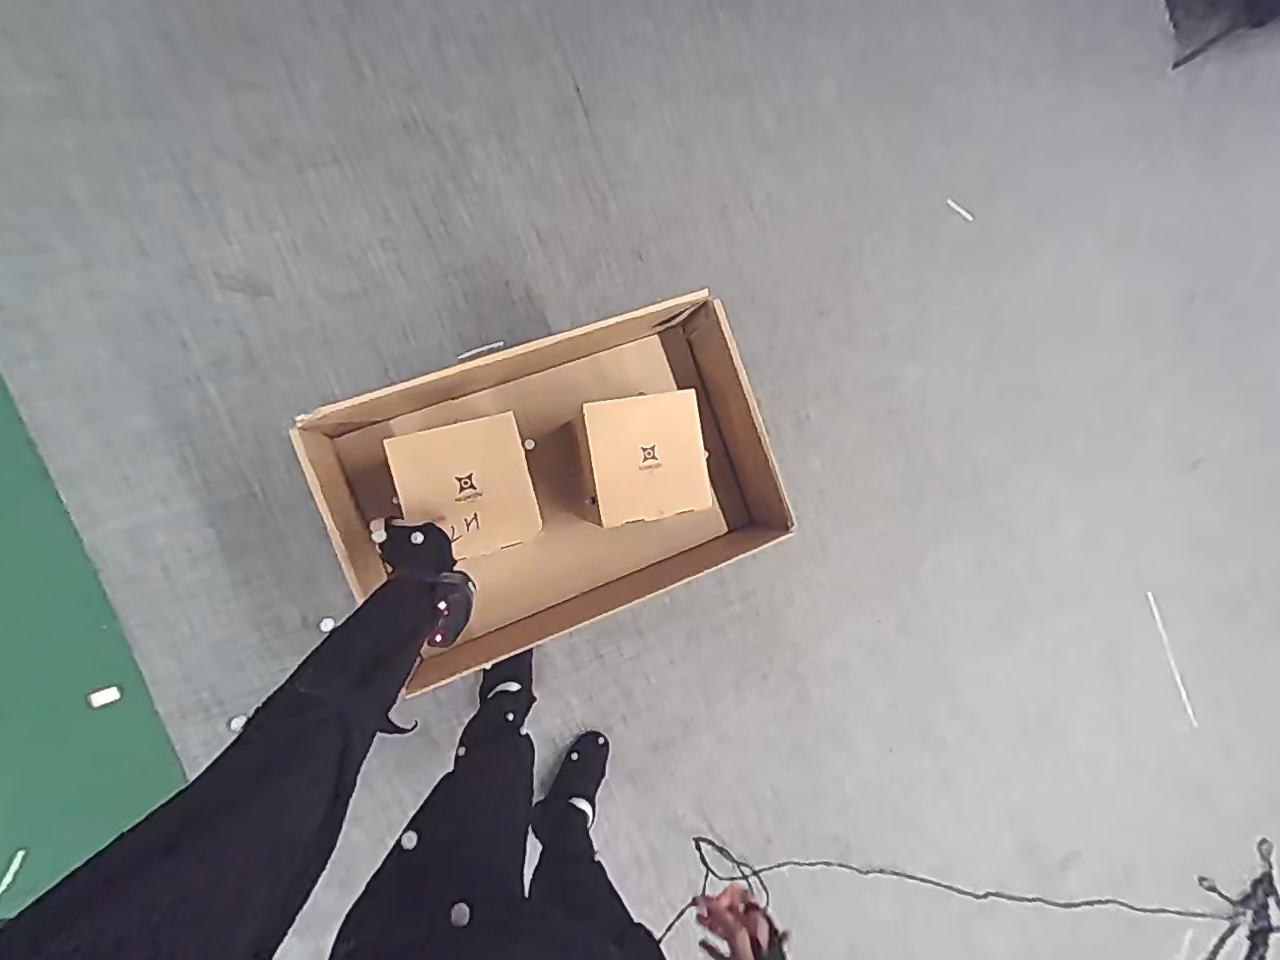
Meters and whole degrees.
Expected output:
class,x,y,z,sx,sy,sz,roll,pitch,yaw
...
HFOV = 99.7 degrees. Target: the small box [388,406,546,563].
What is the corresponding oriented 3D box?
class,x,y,z,sx,sy,sz,roll,pitch,yaw
small box,-0.238,0.006,0.771,0.168,0.176,0.179,-14,93,-12
